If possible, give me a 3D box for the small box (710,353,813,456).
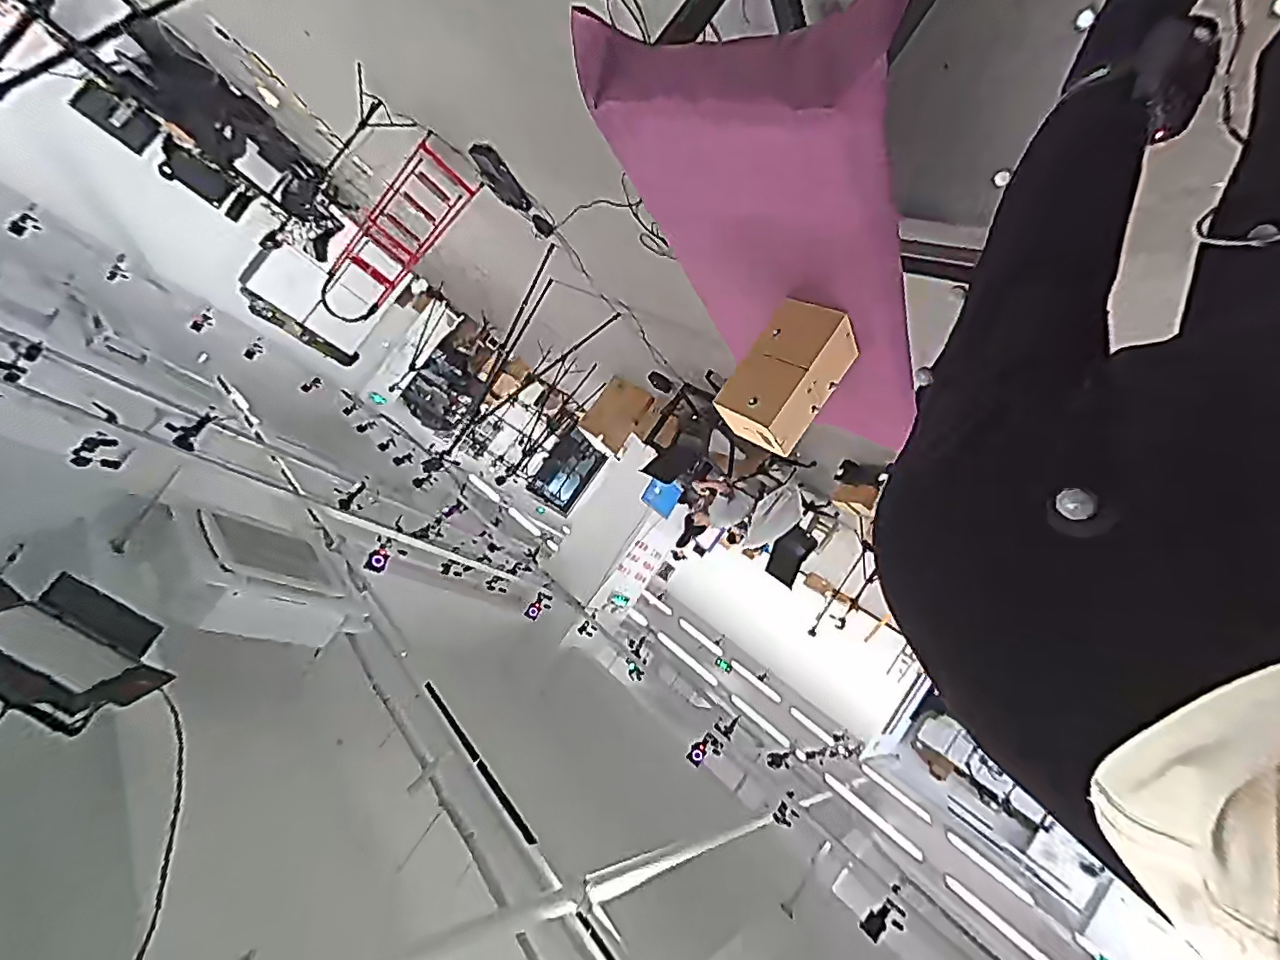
[{"bbox_3d":[0.313,-0.192,1.354,0.179,0.176,0.168,34,176,37],"label":"small box"}]
